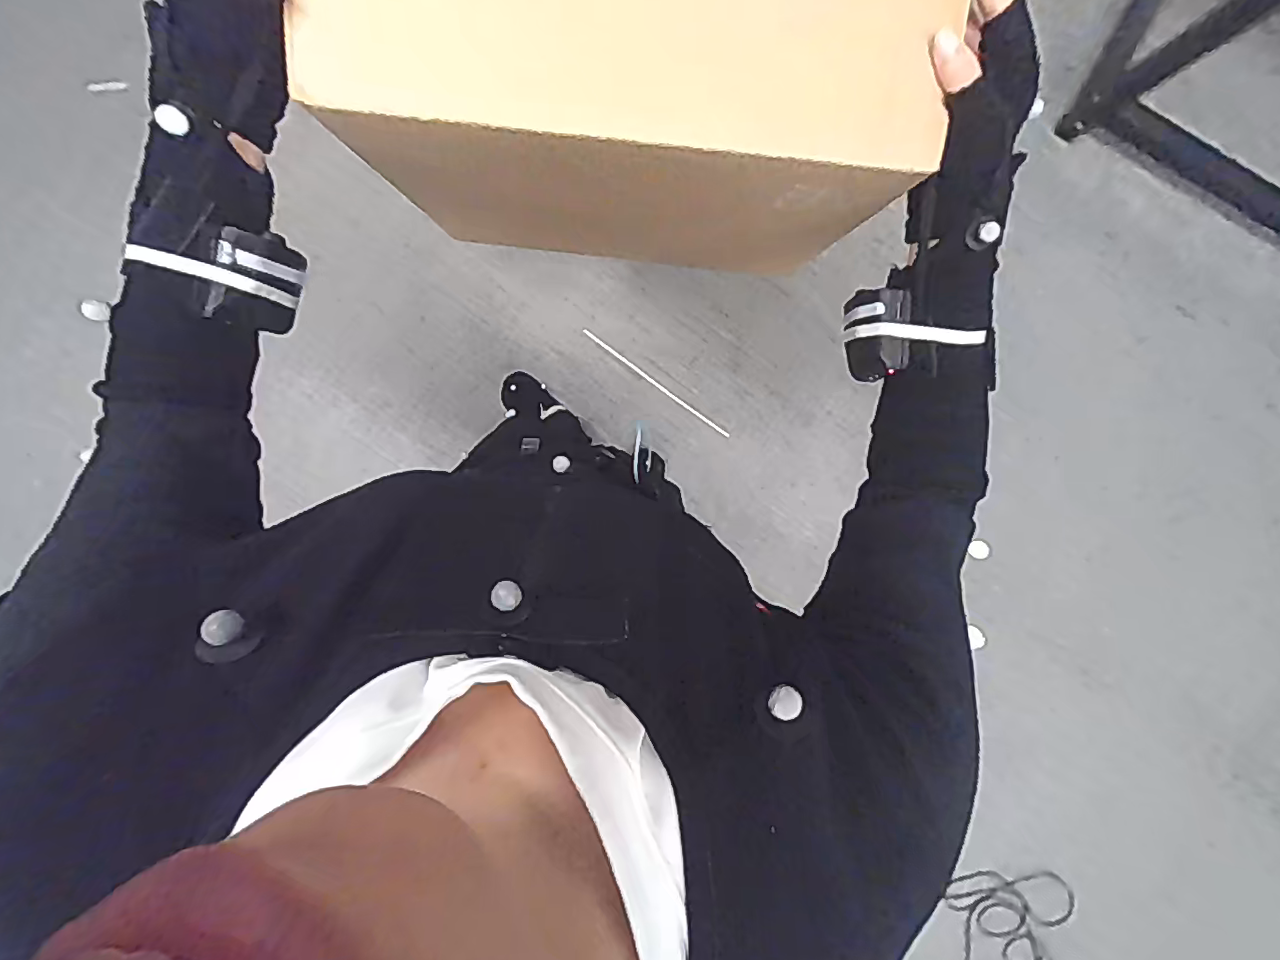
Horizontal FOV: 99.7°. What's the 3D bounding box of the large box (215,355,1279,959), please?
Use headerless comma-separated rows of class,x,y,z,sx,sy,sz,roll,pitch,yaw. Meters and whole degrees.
large box,0.088,0.184,0.333,0.320,0.320,0.408,17,56,27
